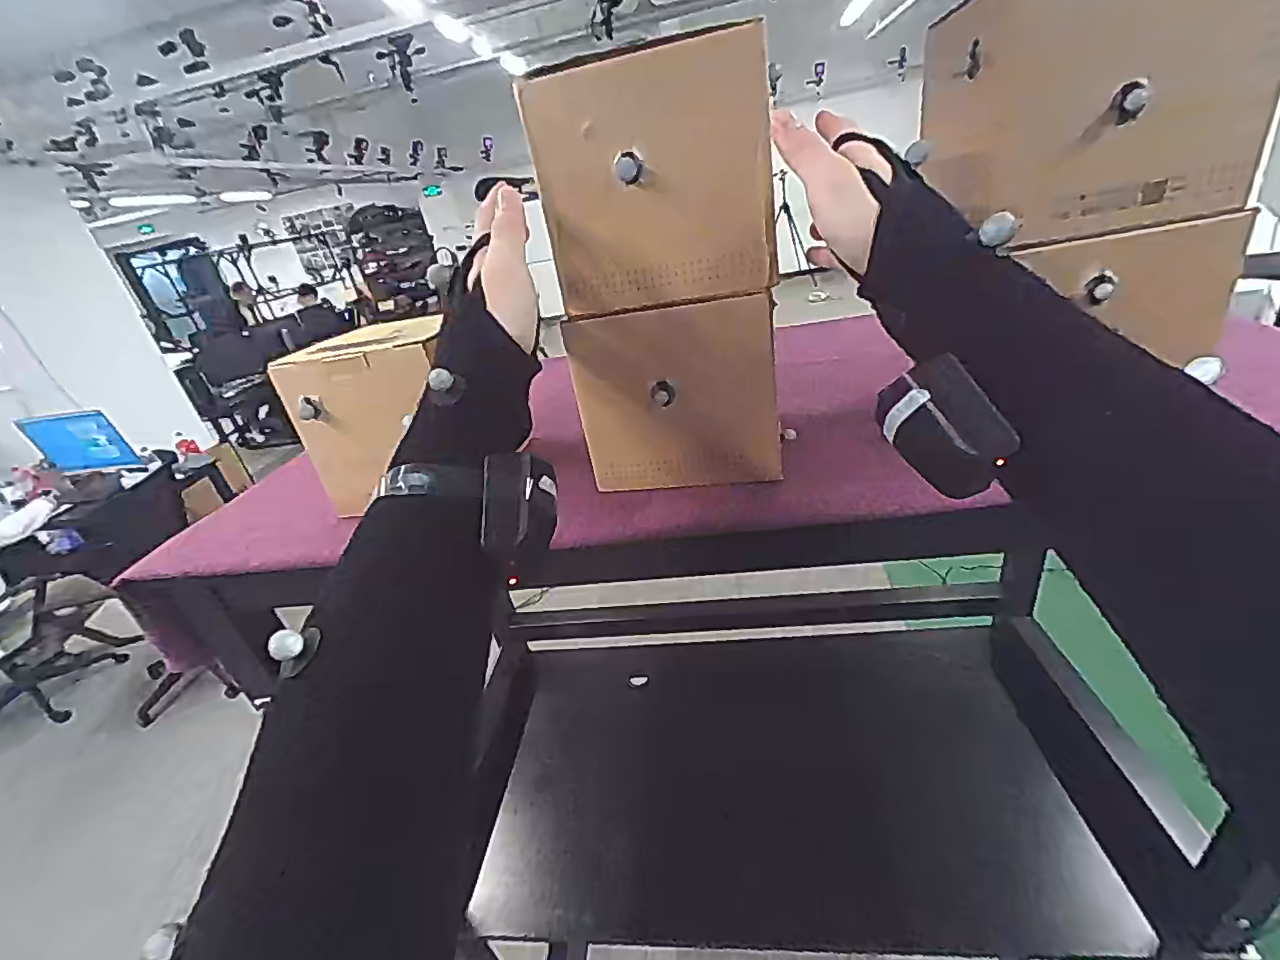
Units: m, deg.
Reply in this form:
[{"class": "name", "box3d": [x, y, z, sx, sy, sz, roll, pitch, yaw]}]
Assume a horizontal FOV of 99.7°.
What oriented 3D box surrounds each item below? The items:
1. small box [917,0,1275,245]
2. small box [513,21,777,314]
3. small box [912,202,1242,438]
[{"class": "small box", "box3d": [0.331, -0.292, 0.427, 0.168, 0.176, 0.179, -5, 28, 13]}, {"class": "small box", "box3d": [0.019, -0.253, 0.473, 0.179, 0.176, 0.168, -6, 28, 13]}, {"class": "small box", "box3d": [0.362, -0.146, 0.494, 0.179, 0.176, 0.168, -5, 28, 14]}]
